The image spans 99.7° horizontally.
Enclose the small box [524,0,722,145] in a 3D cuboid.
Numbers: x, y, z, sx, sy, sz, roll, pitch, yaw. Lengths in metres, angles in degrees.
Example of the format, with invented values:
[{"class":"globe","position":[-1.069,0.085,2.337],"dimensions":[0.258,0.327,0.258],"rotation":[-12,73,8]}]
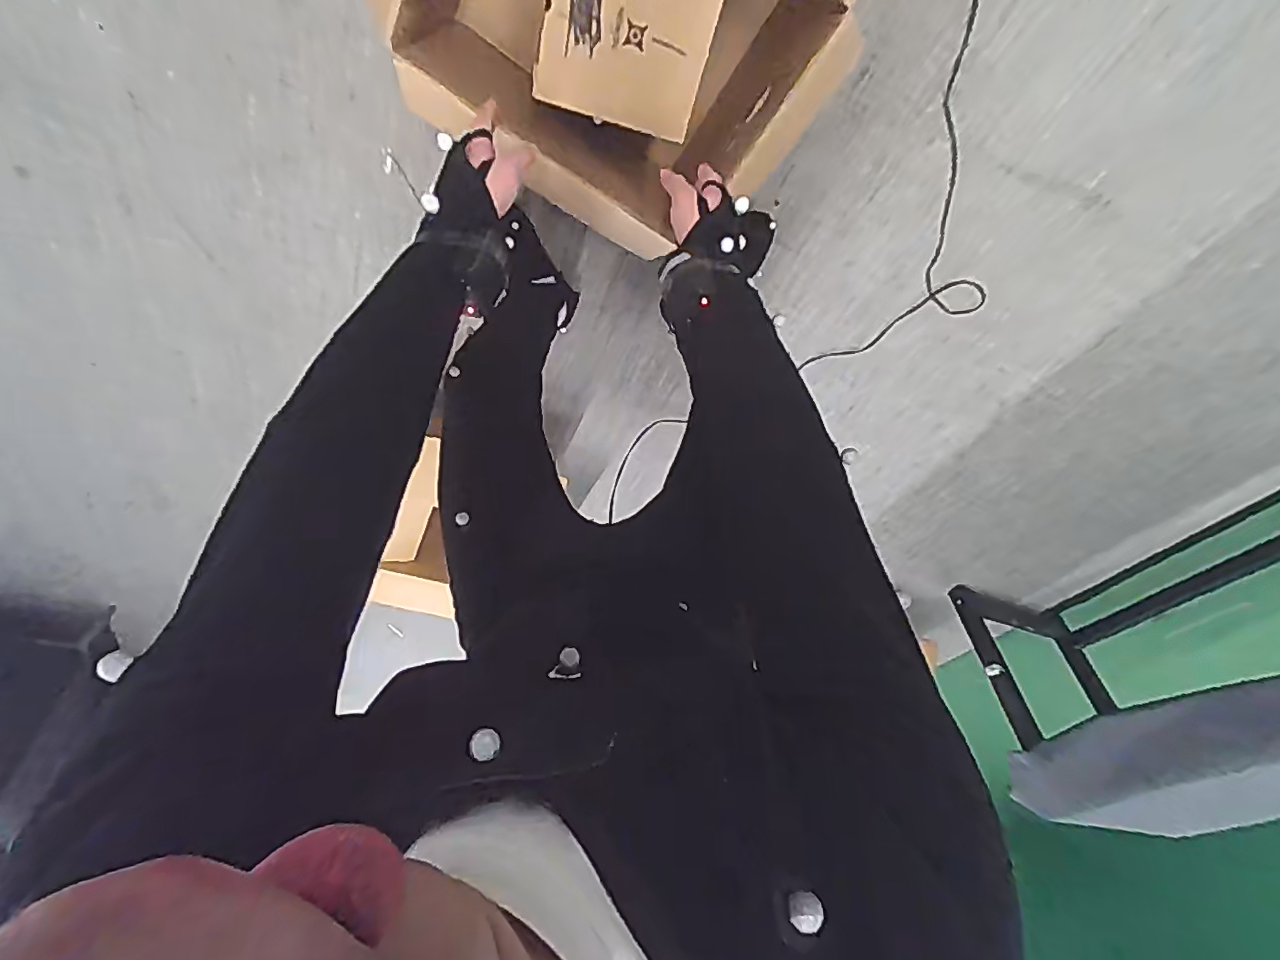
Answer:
[{"class":"small box","position":[-0.017,-0.516,0.604],"dimensions":[0.179,0.176,0.168],"rotation":[13,135,-14]}]
